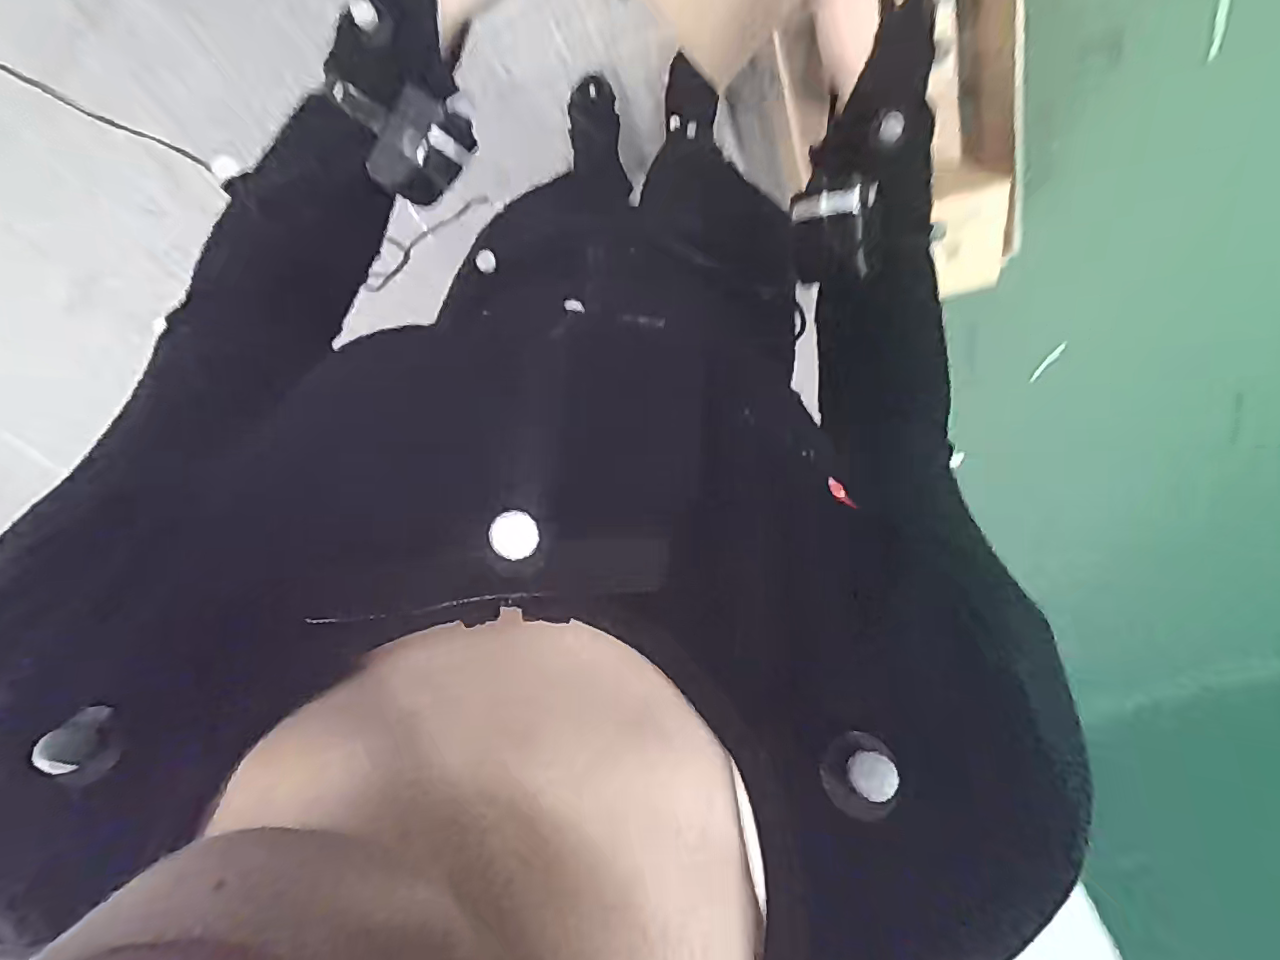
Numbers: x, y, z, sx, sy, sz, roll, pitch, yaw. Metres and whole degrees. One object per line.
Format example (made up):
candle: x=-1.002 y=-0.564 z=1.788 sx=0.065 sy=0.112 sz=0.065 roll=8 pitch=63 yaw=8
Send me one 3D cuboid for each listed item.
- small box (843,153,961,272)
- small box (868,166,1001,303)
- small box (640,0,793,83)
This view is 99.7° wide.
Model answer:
small box: x=0.548 y=-0.573 z=1.151 sx=0.179 sy=0.176 sz=0.168 roll=-12 pitch=128 yaw=11
small box: x=0.545 y=-0.467 z=1.026 sx=0.168 sy=0.176 sz=0.179 roll=-12 pitch=128 yaw=9
small box: x=0.049 y=-0.435 z=0.370 sx=0.179 sy=0.176 sz=0.168 roll=26 pitch=137 yaw=-31
